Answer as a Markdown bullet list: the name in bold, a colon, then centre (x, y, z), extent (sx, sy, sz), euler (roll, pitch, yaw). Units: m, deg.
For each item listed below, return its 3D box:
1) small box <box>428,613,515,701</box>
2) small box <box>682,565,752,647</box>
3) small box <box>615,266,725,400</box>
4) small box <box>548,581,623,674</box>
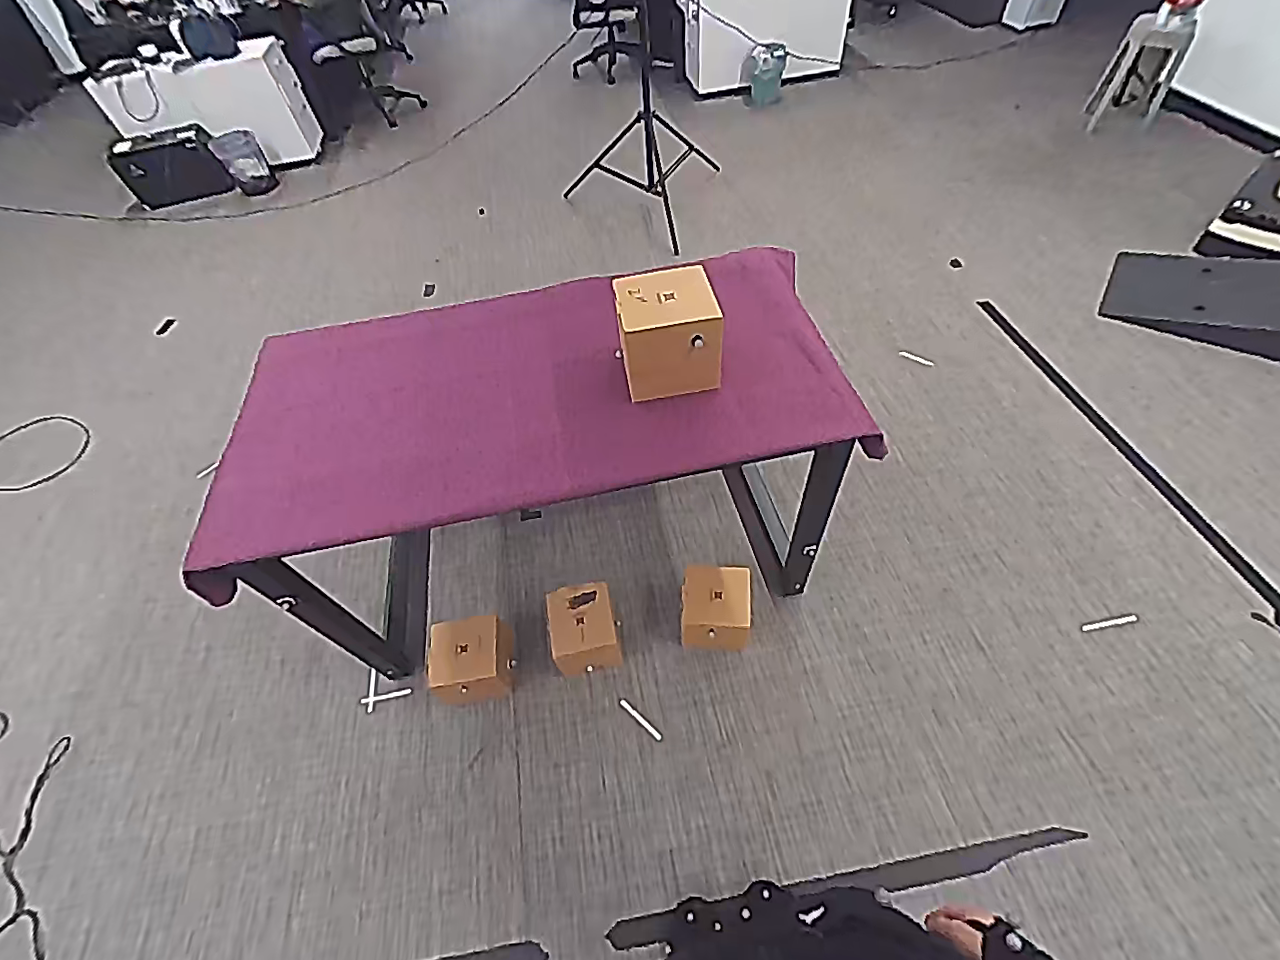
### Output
- **small box**: centre (-0.440, 0.476, 1.437), extent (0.179, 0.176, 0.168), euler (-9, 54, -2)
- **small box**: centre (0.208, 0.345, 1.465), extent (0.179, 0.176, 0.168), euler (2, 55, 9)
- **small box**: centre (0.055, -0.275, 1.027), extent (0.179, 0.176, 0.168), euler (-10, 52, -1)
- **small box**: centre (-0.145, 0.401, 1.459), extent (0.168, 0.176, 0.179), euler (-12, 54, -3)
